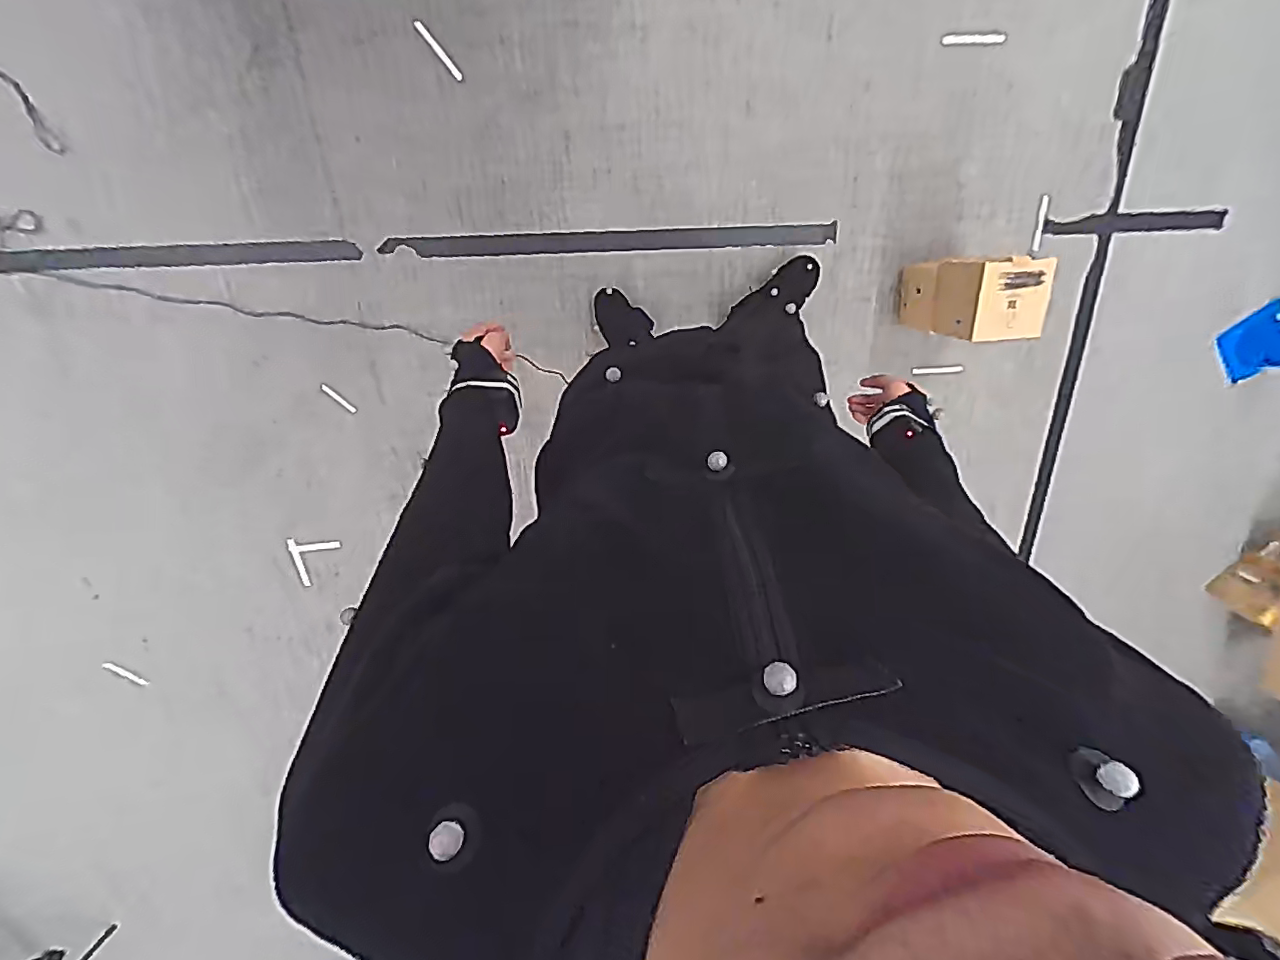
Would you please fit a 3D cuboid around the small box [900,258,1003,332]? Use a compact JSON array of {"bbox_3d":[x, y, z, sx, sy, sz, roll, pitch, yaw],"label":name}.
[{"bbox_3d":[0.820,-0.496,1.443,0.179,0.176,0.168,-8,113,-1],"label":"small box"}]
